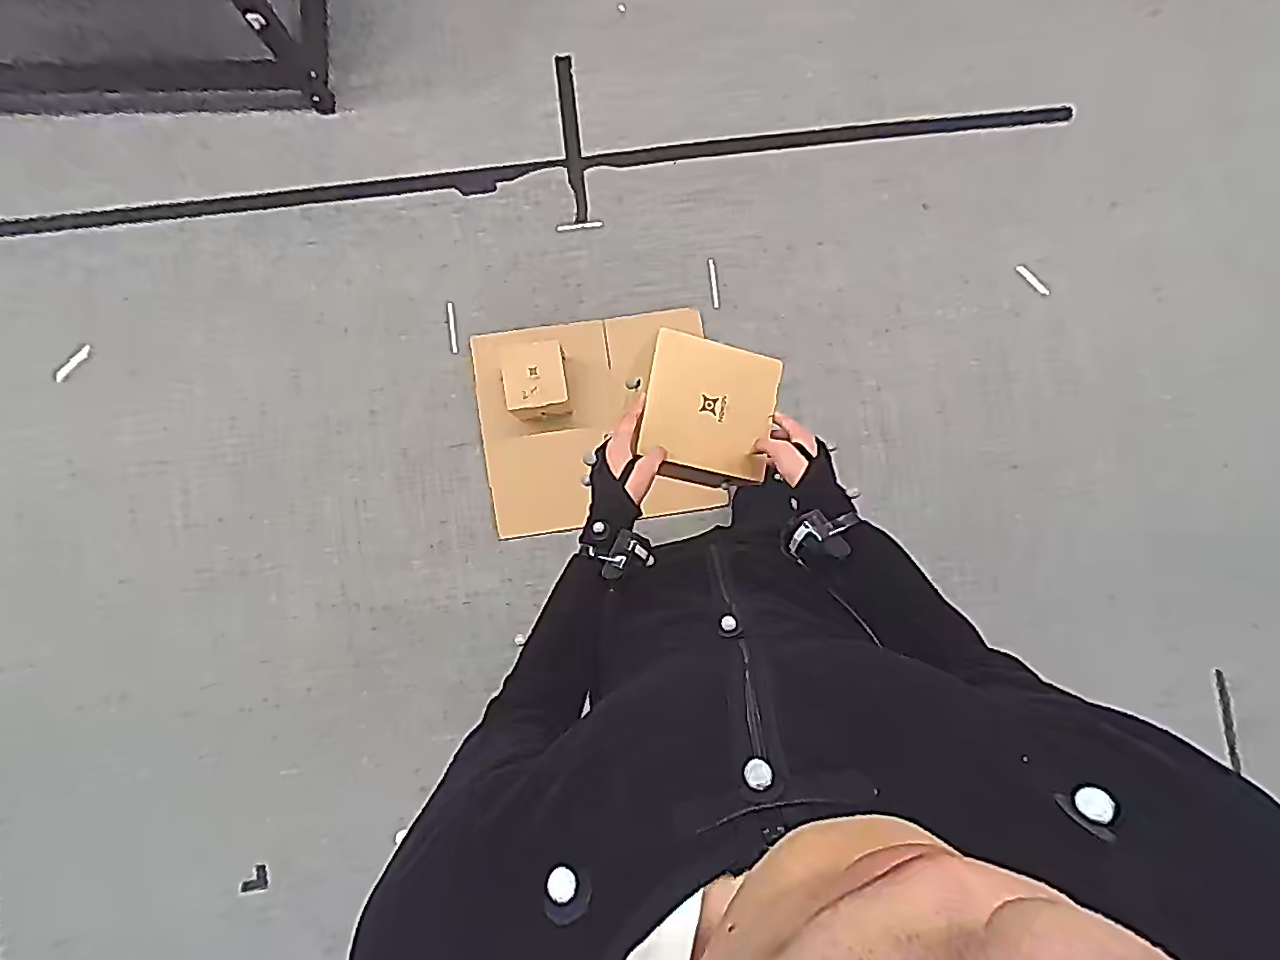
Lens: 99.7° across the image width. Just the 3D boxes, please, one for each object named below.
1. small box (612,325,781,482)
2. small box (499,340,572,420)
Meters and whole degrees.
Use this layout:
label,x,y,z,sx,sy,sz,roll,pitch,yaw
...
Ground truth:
label,x,y,z,sx,sy,sz,roll,pitch,yaw
small box,0.068,-0.093,0.756,0.179,0.176,0.168,12,85,-14
small box,-0.288,-0.275,1.521,0.168,0.176,0.179,-9,89,-2
